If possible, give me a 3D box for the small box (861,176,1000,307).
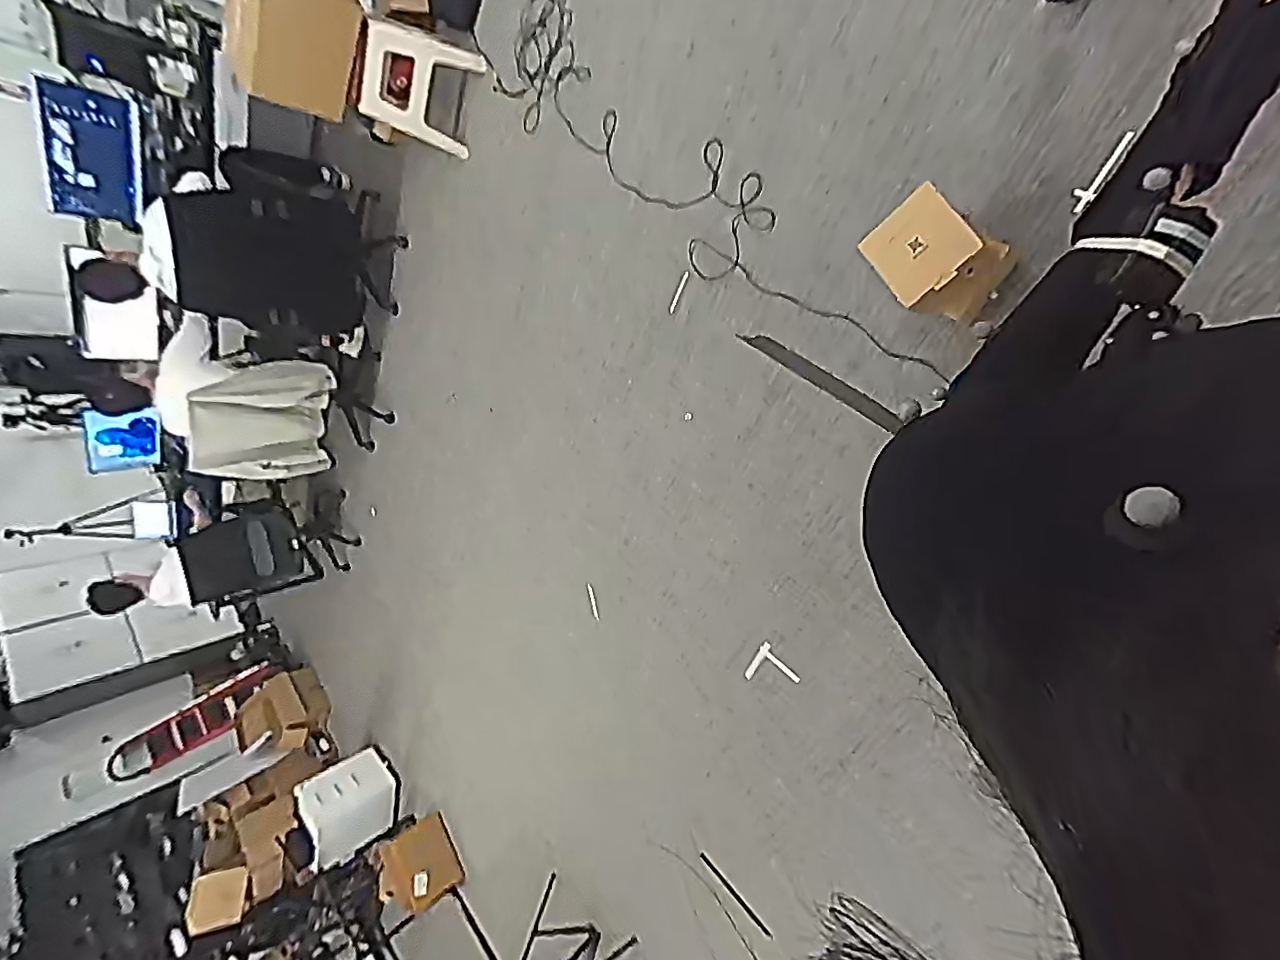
[{"bbox_3d":[0.595,-0.473,1.101,0.168,0.176,0.179,-42,71,38],"label":"small box"}]

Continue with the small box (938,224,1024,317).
[{"bbox_3d":[0.717,-0.478,1.212,0.179,0.176,0.168,42,124,25],"label":"small box"}]
